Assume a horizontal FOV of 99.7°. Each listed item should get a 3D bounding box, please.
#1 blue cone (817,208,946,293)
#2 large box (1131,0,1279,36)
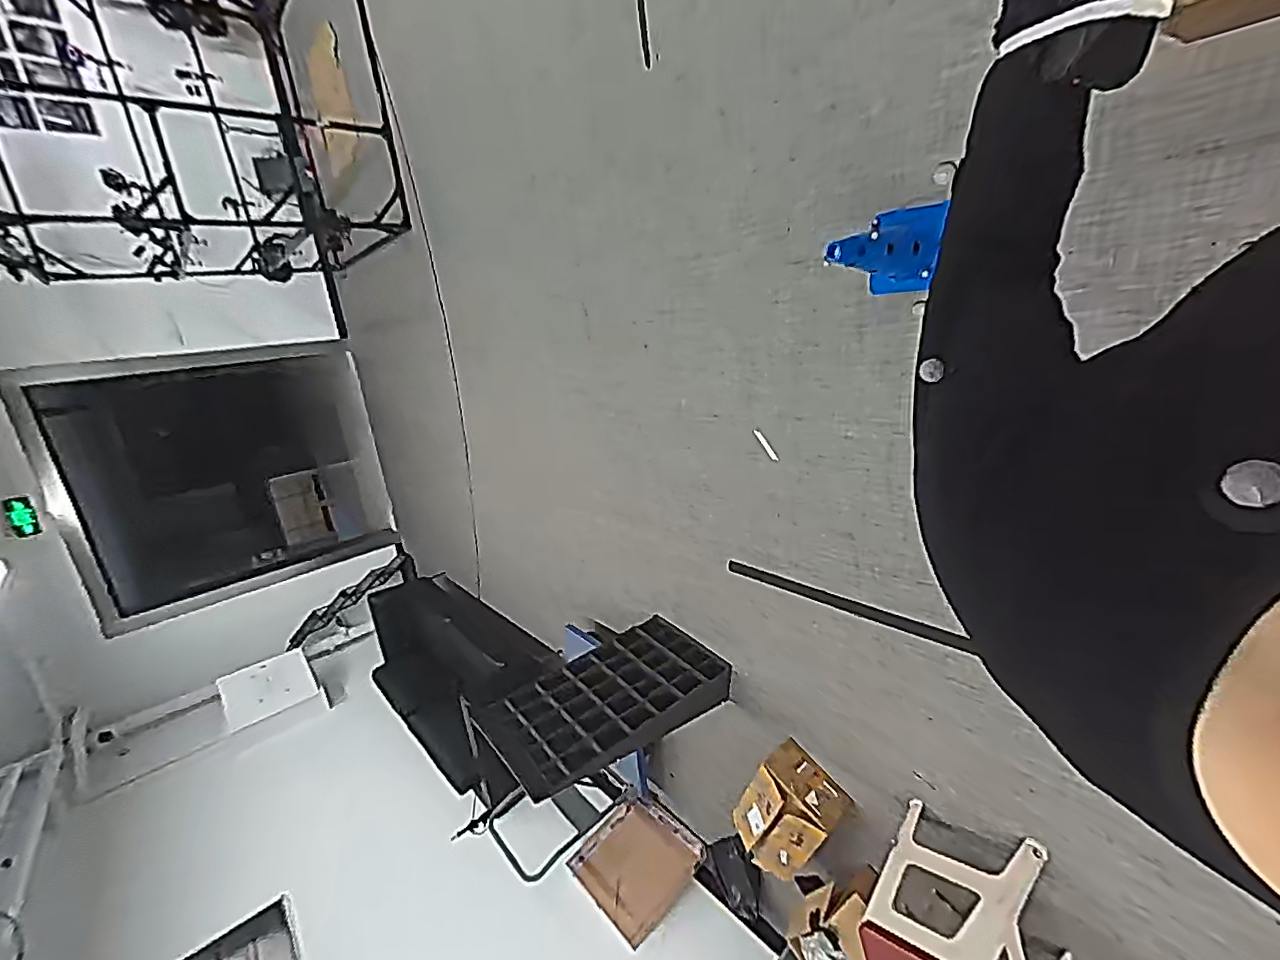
[{"bbox_3d":[0.553,-0.542,1.284,0.192,0.380,0.193,17,118,48],"label":"blue cone"},{"bbox_3d":[0.521,-0.477,0.240,0.408,0.320,0.320,12,124,46],"label":"large box"}]
